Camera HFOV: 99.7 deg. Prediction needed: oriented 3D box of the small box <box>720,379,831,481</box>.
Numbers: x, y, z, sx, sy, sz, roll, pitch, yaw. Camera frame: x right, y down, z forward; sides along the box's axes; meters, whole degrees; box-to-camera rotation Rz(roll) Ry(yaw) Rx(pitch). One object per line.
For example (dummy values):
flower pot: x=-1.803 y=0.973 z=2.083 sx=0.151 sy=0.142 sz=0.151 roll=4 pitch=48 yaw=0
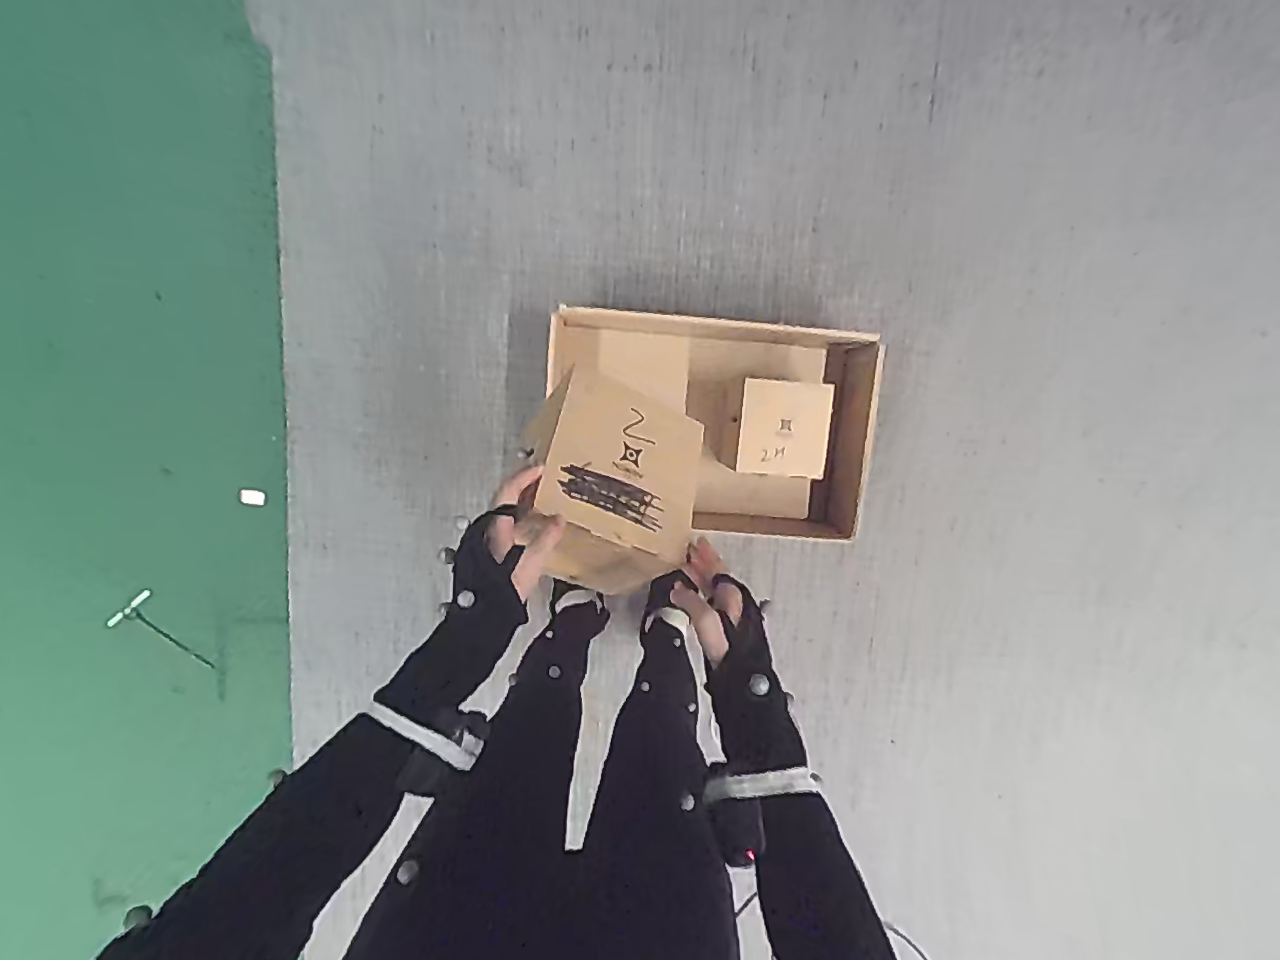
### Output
small box: x=0.258 y=-0.101 z=1.069 sx=0.168 sy=0.176 sz=0.179 roll=5 pitch=98 yaw=-2
